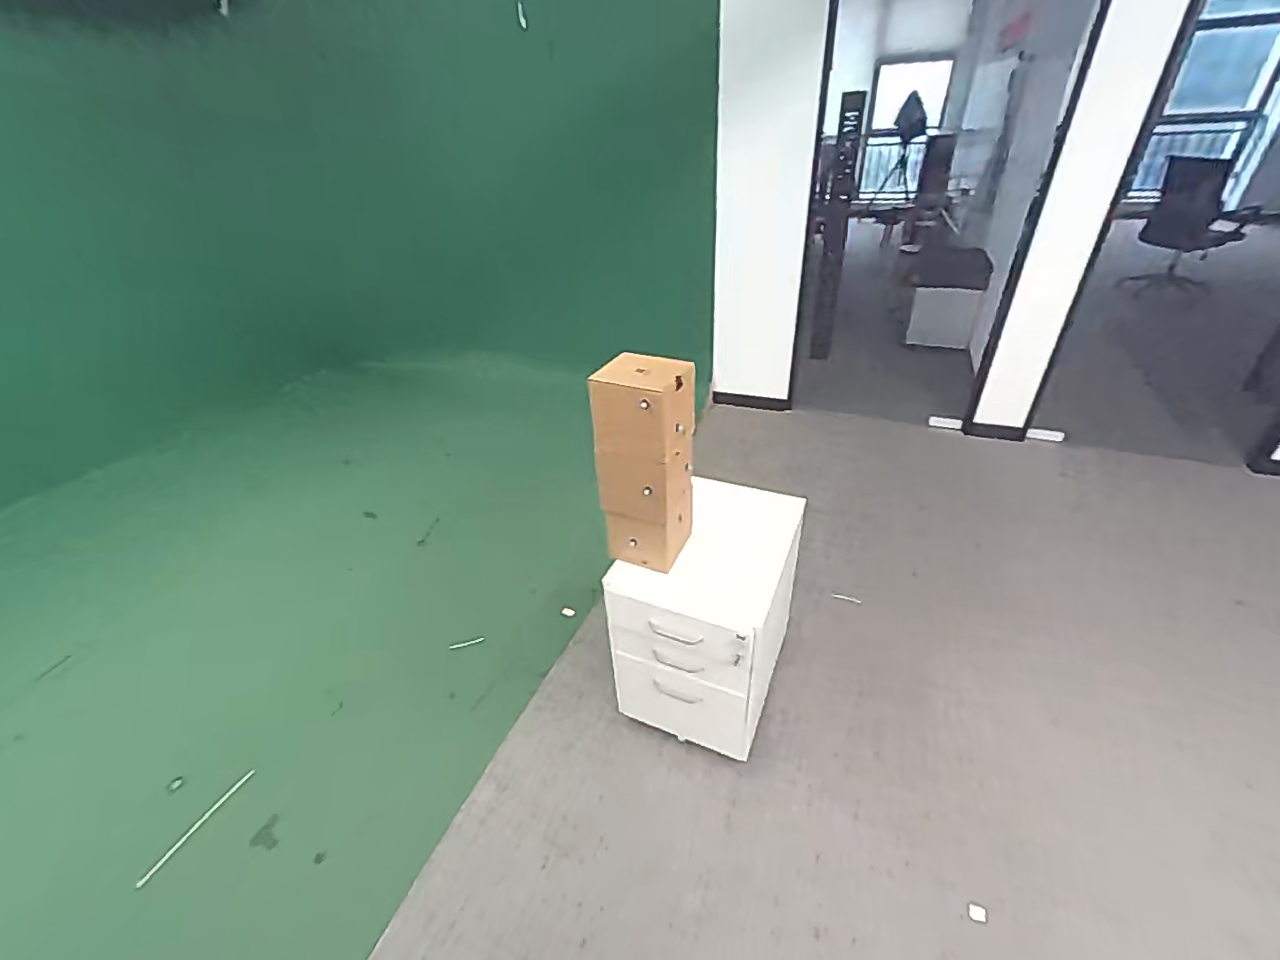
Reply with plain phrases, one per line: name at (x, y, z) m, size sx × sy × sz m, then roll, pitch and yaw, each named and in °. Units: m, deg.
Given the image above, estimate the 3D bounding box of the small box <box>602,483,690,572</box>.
small box at (0.022, 0.104, 1.368) m, size 0.168 × 0.176 × 0.179 m, roll 14°, pitch 38°, yaw 21°

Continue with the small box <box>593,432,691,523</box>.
small box at (0.010, -0.021, 1.265) m, size 0.179 × 0.176 × 0.168 m, roll 12°, pitch 36°, yaw 21°

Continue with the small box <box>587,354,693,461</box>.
small box at (0.004, -0.159, 1.178) m, size 0.179 × 0.176 × 0.168 m, roll 14°, pitch 37°, yaw 22°
